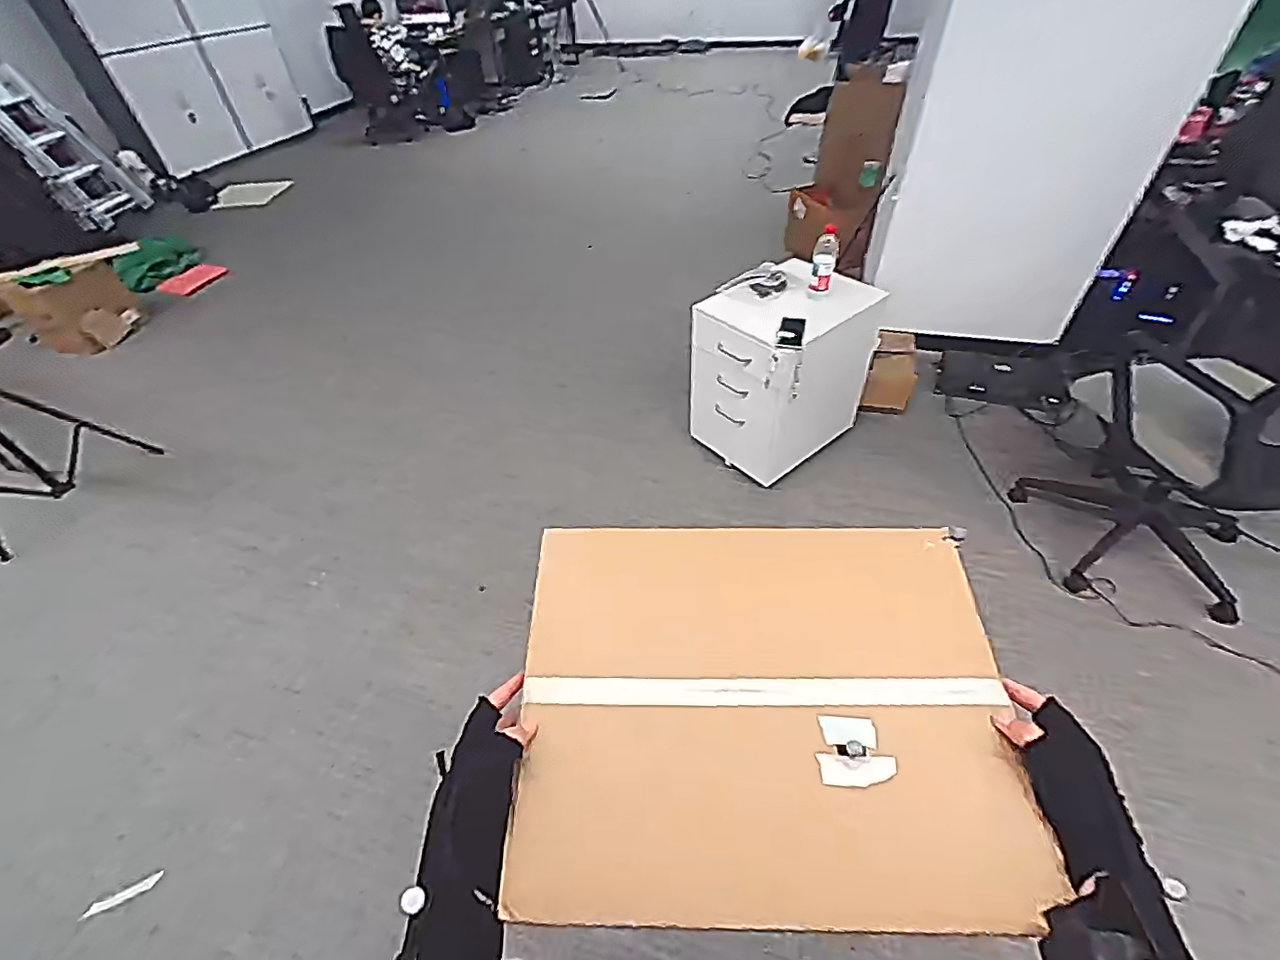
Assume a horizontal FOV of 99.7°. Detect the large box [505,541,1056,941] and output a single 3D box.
[{"bbox_3d":[0.099,0.276,0.589,0.408,0.320,0.320,-1,57,1],"label":"large box"}]
